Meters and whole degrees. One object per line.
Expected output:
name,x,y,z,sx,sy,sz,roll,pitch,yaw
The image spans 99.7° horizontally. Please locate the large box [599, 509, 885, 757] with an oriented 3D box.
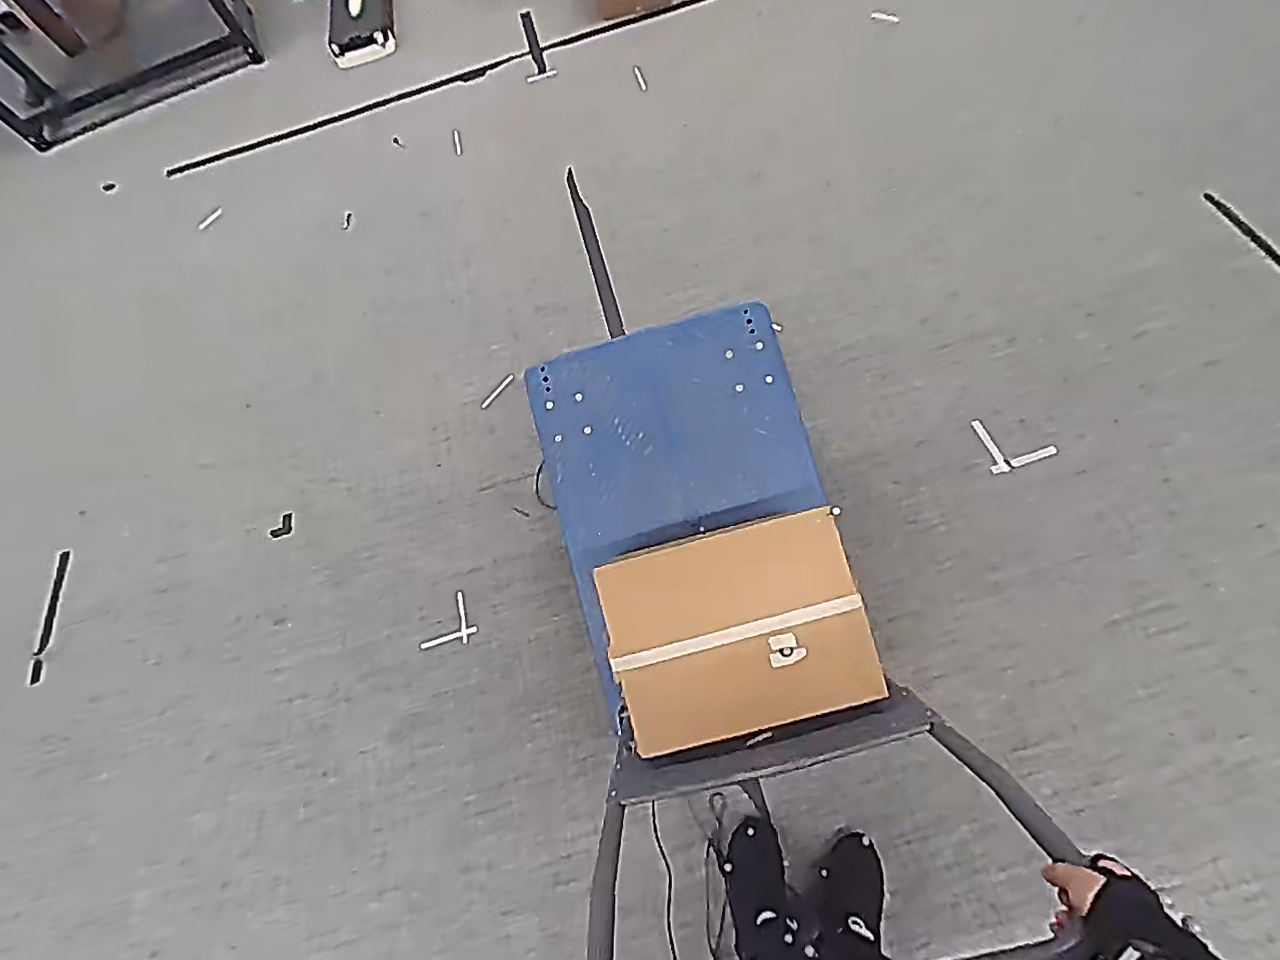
large box,0.167,0.261,1.024,0.408,0.320,0.320,-15,85,1
